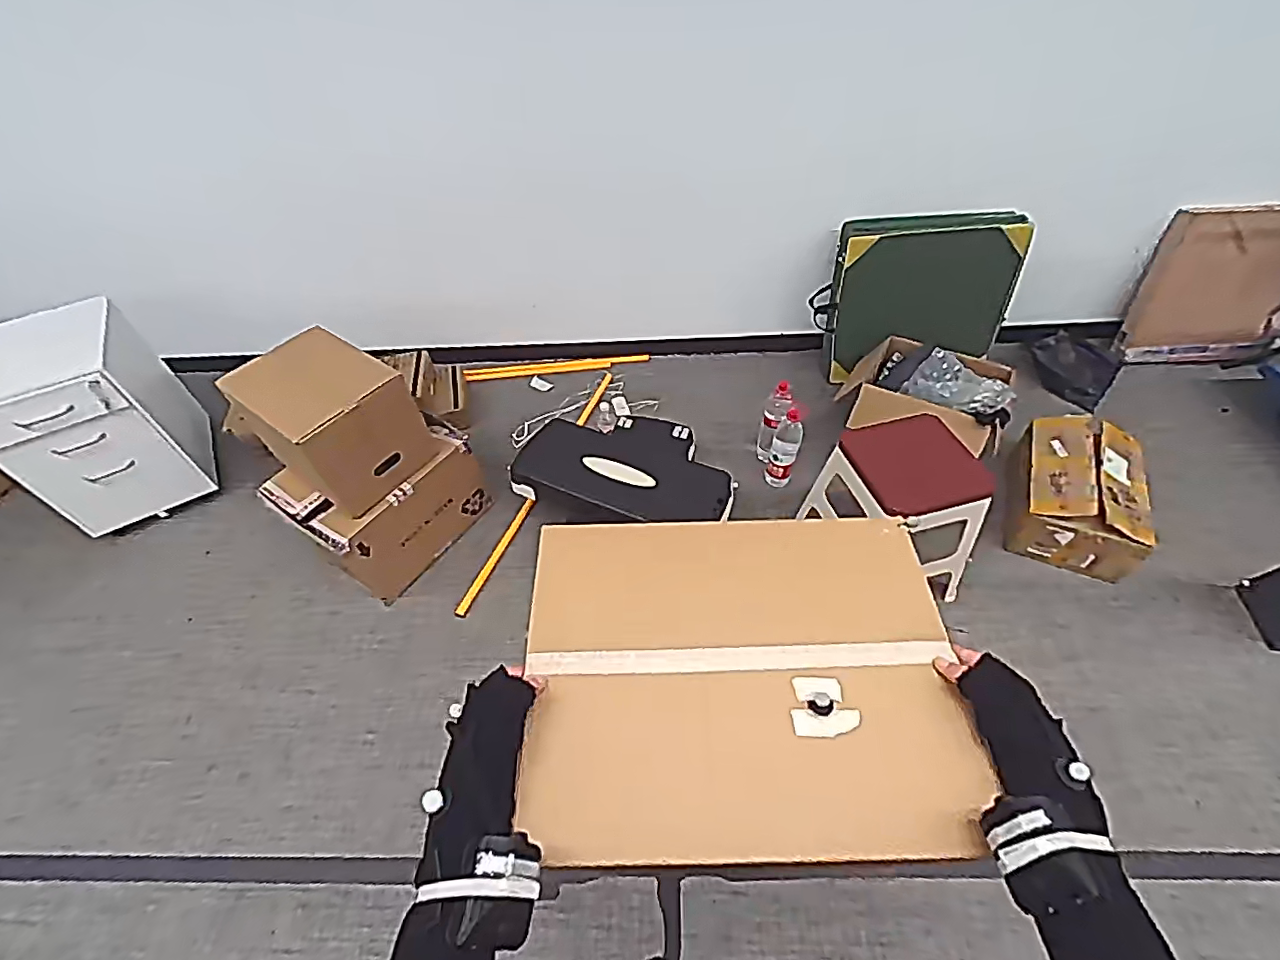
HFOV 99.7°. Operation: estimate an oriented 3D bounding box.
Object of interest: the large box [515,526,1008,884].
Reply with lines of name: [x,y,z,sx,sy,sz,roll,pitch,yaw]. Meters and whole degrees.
large box: [0.095,0.271,0.635,0.408,0.320,0.320,-1,52,0]
